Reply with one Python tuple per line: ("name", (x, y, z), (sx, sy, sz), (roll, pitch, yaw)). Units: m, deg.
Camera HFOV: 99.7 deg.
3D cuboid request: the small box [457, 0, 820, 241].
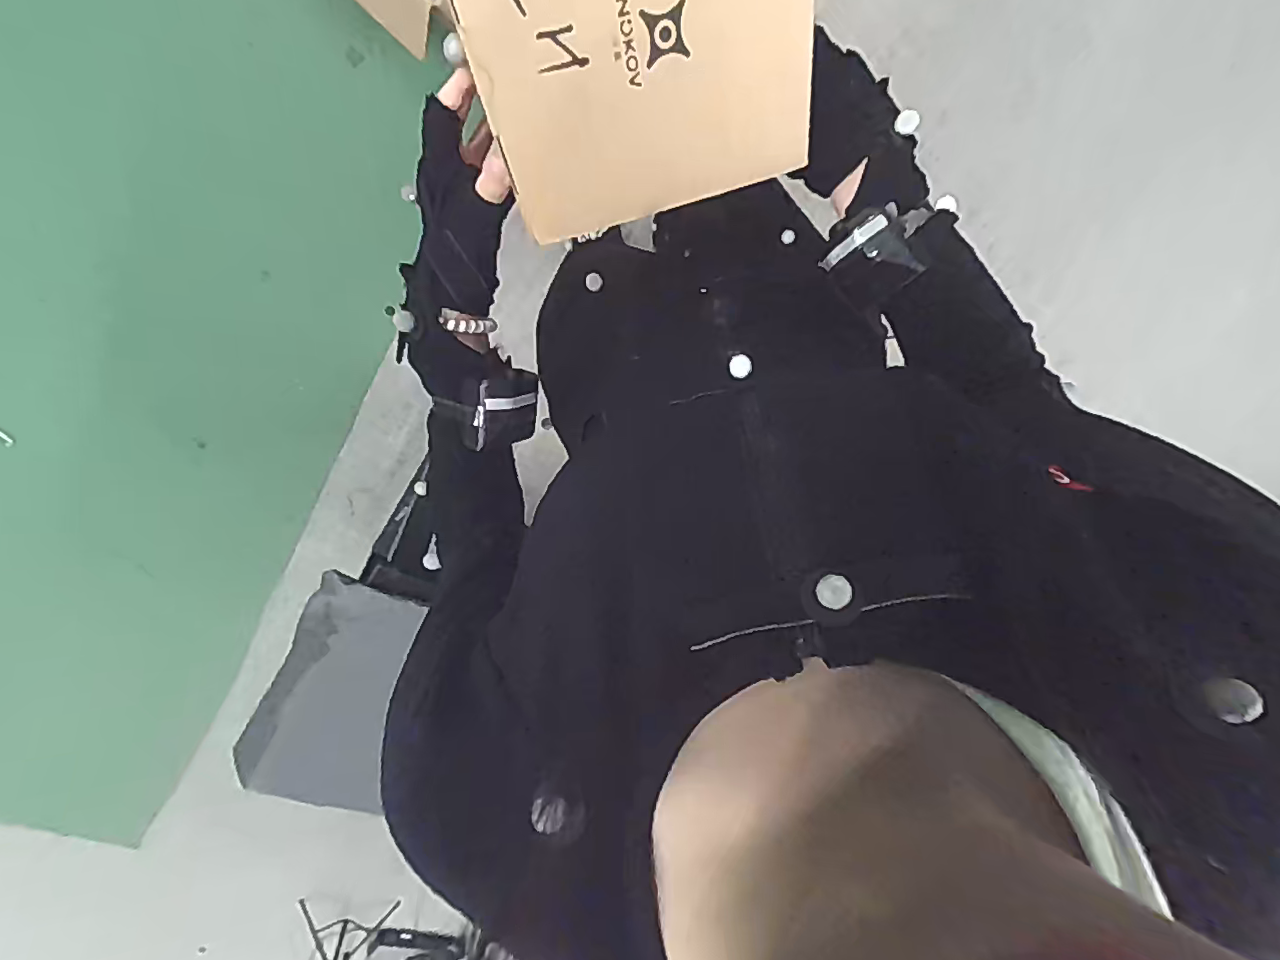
("small box", (-0.012, -0.274, 0.316), (0.179, 0.176, 0.168), (-17, 137, -1))
